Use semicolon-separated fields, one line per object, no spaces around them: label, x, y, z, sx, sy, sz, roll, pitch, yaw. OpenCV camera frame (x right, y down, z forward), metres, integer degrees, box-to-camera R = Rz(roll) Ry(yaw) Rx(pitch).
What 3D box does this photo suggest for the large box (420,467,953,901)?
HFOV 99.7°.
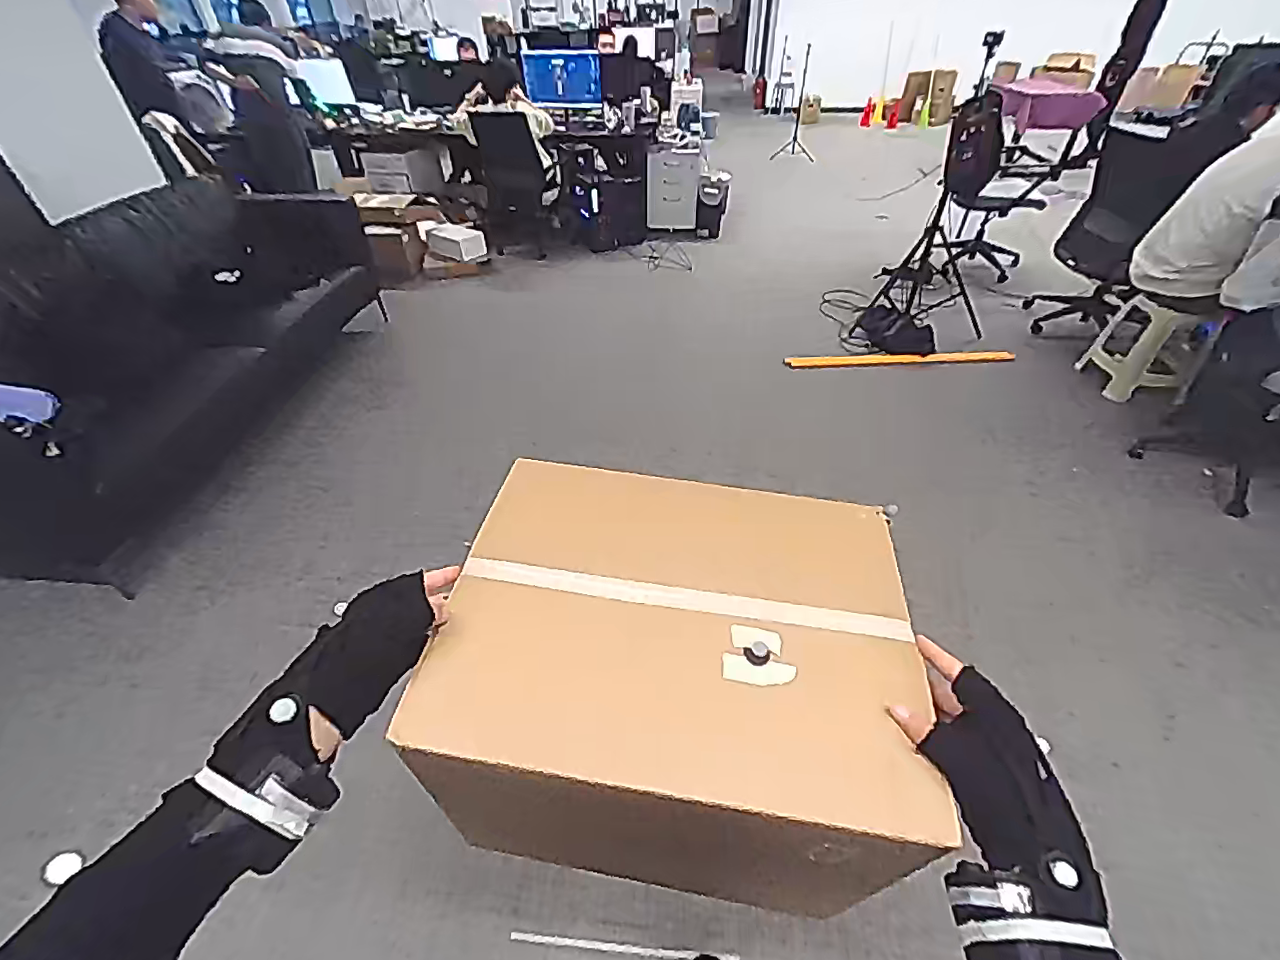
large box;0.038;0.220;0.602;0.408;0.320;0.320;8;45;4
